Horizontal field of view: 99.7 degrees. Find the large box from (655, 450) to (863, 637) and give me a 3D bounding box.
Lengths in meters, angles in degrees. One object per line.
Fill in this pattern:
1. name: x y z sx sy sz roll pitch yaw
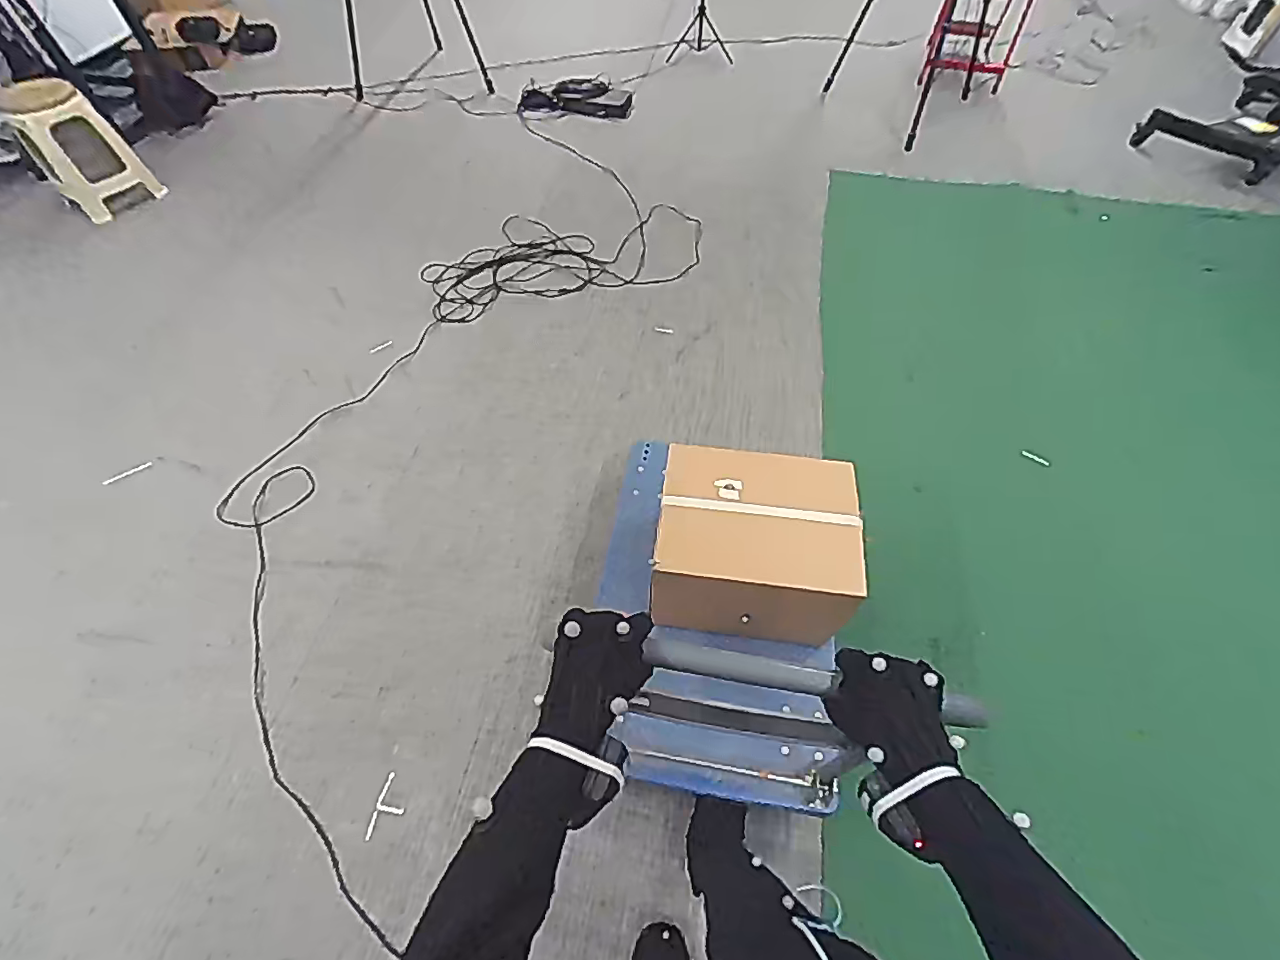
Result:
1. large box: 0.250 0.153 1.246 0.408 0.320 0.320 5 56 5
